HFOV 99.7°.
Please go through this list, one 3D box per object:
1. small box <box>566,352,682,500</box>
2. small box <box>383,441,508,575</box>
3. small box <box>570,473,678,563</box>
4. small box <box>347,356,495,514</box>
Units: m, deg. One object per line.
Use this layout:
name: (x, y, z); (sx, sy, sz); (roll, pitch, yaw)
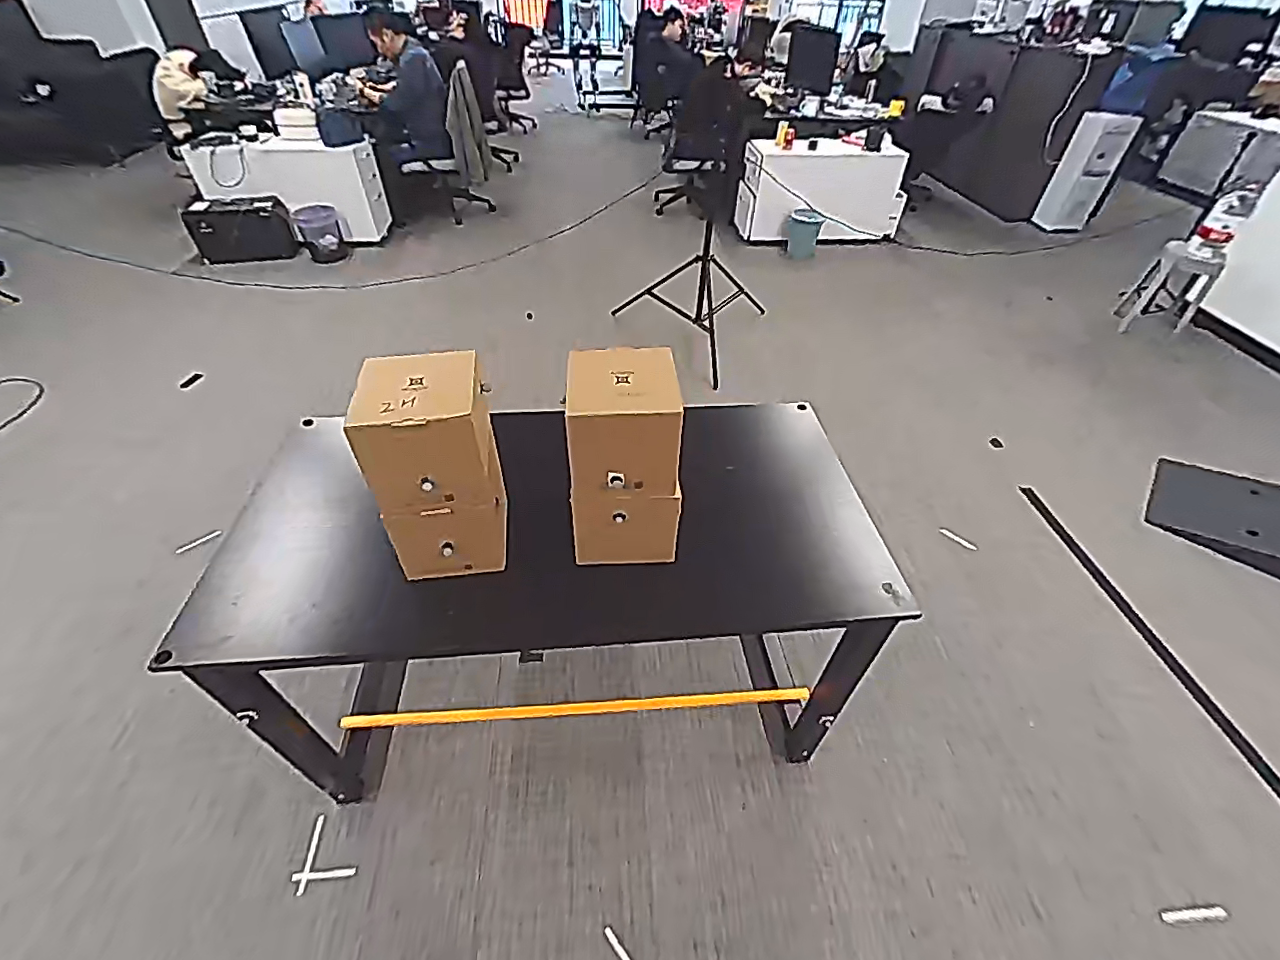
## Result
small box: (-0.029, -0.087, 0.868); (0.168, 0.176, 0.179); (-3, 44, -3)
small box: (-0.327, 0.053, 0.949); (0.168, 0.176, 0.179); (-6, 44, -7)
small box: (-0.030, 0.037, 0.973); (0.179, 0.176, 0.168); (-1, 43, -4)
small box: (-0.323, -0.071, 0.837); (0.168, 0.176, 0.179); (-7, 44, -8)
